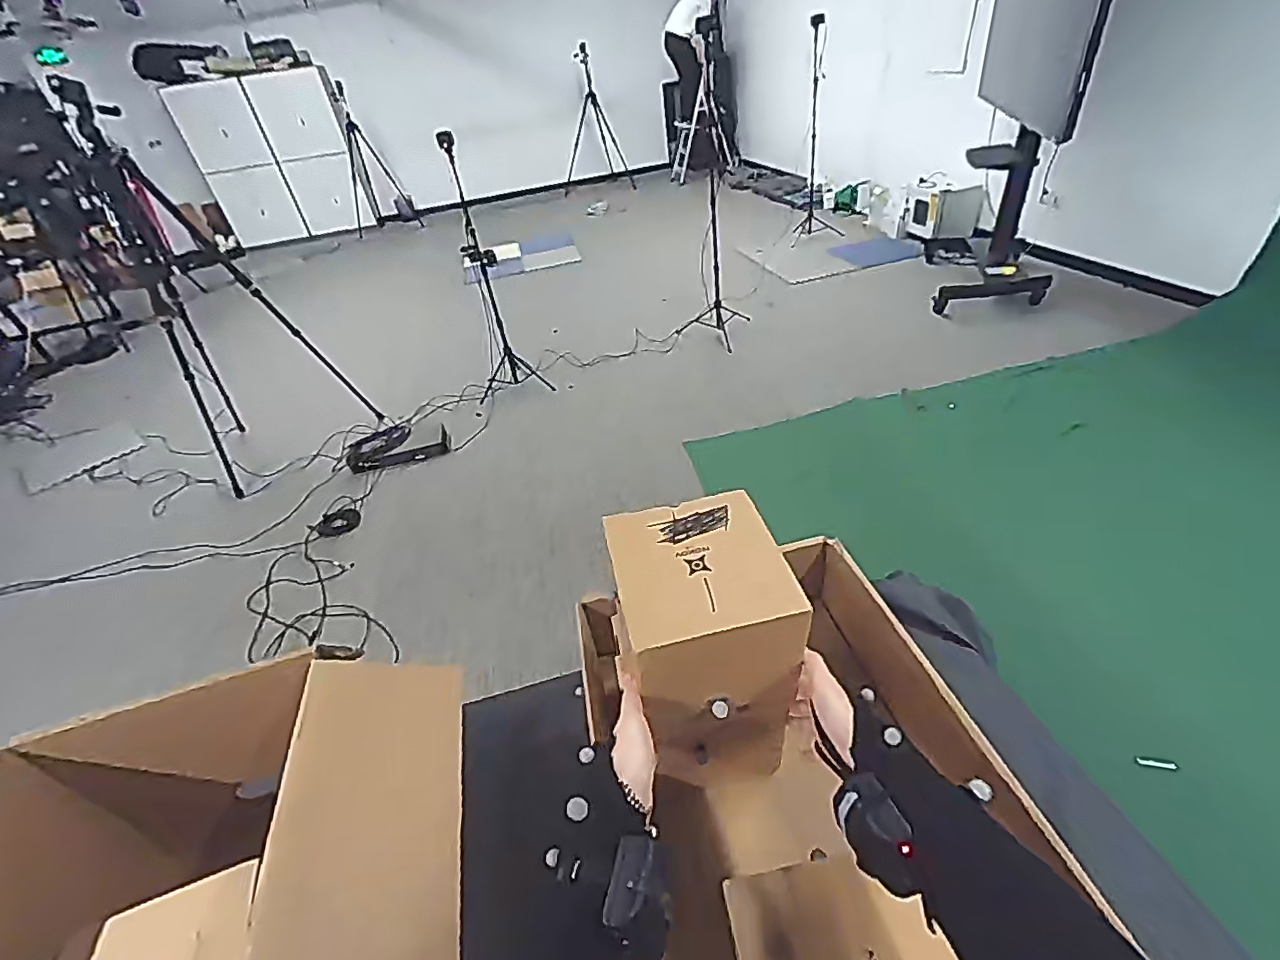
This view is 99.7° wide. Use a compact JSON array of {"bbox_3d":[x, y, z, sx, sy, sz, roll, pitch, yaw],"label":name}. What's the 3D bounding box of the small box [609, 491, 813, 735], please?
[{"bbox_3d":[0.065,0.141,0.586,0.168,0.176,0.179,-11,41,-6],"label":"small box"}]
